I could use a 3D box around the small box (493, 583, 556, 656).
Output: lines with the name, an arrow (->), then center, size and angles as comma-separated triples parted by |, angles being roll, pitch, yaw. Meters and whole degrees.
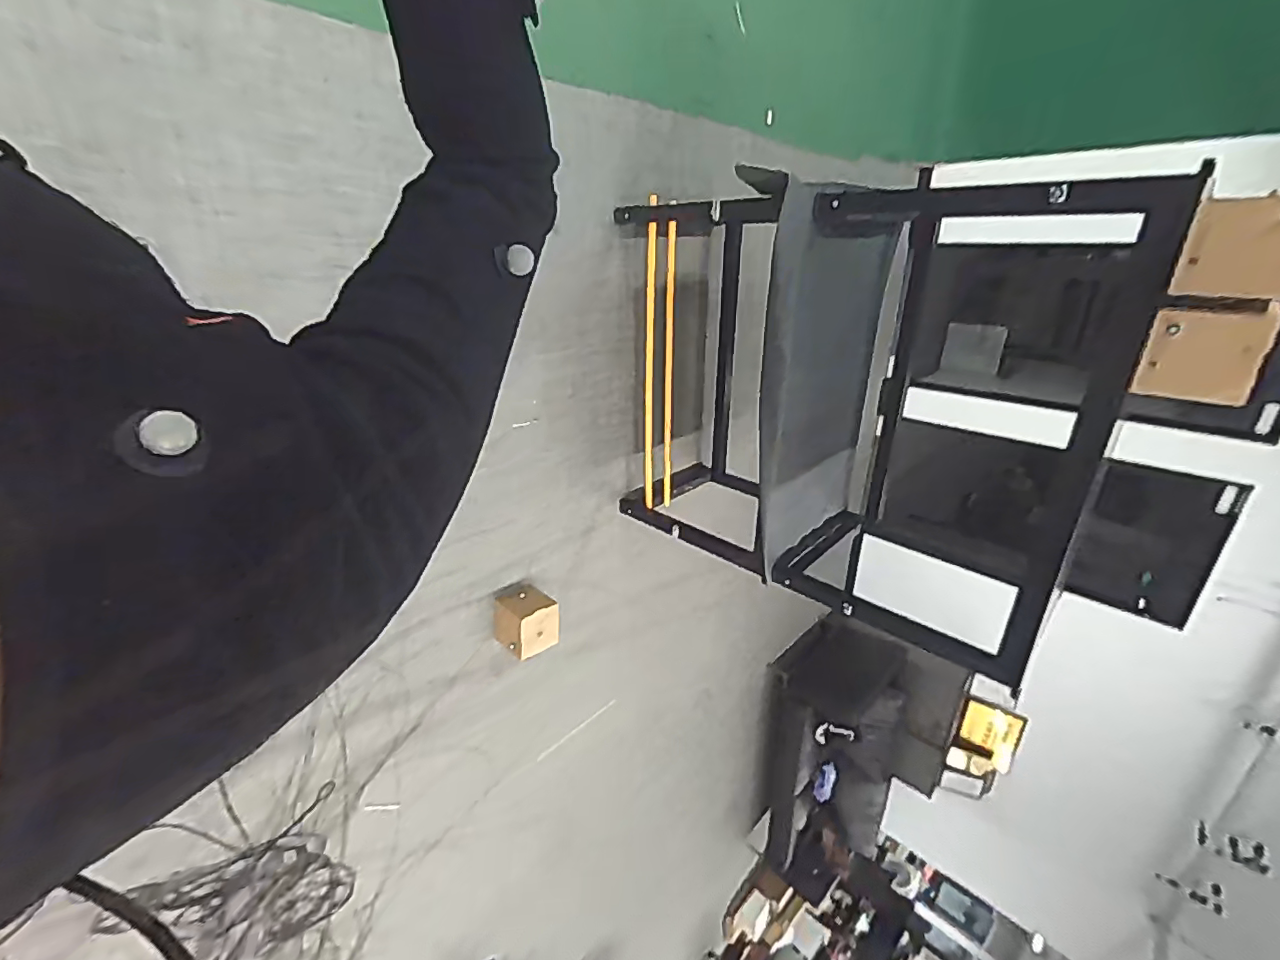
small box -> -0.426, 0.505, 1.981 | 0.168, 0.176, 0.179 | -16, 118, -45
